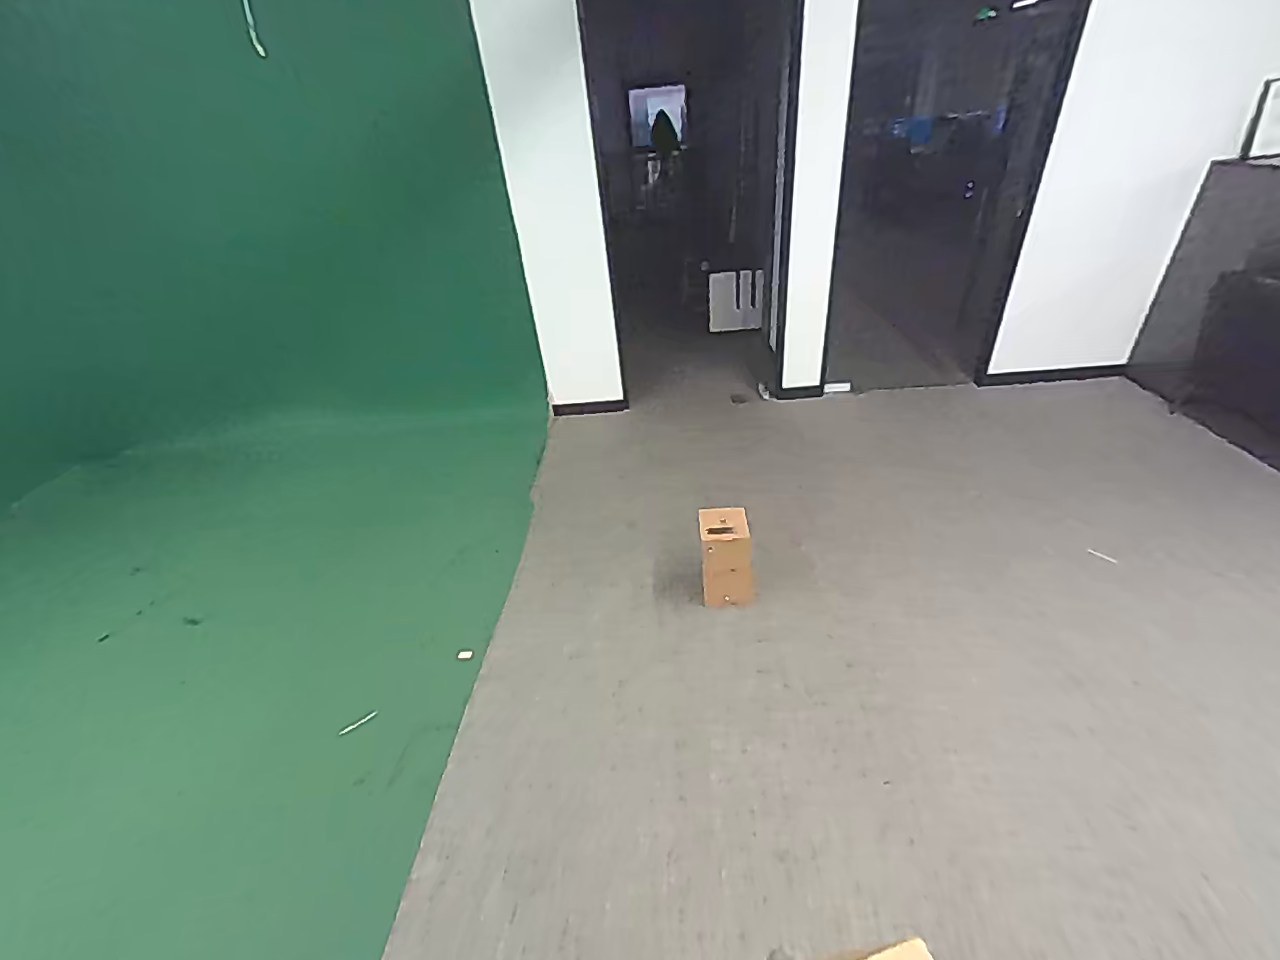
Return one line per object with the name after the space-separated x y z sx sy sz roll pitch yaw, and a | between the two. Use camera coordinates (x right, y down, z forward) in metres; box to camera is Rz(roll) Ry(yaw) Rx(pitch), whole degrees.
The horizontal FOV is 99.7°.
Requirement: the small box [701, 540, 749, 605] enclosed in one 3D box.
0.314 0.344 2.021 0.168 0.176 0.179 -3 35 6 | small box

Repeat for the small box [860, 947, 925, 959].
0.093 0.386 0.281 0.168 0.176 0.179 -9 49 -15 | small box
